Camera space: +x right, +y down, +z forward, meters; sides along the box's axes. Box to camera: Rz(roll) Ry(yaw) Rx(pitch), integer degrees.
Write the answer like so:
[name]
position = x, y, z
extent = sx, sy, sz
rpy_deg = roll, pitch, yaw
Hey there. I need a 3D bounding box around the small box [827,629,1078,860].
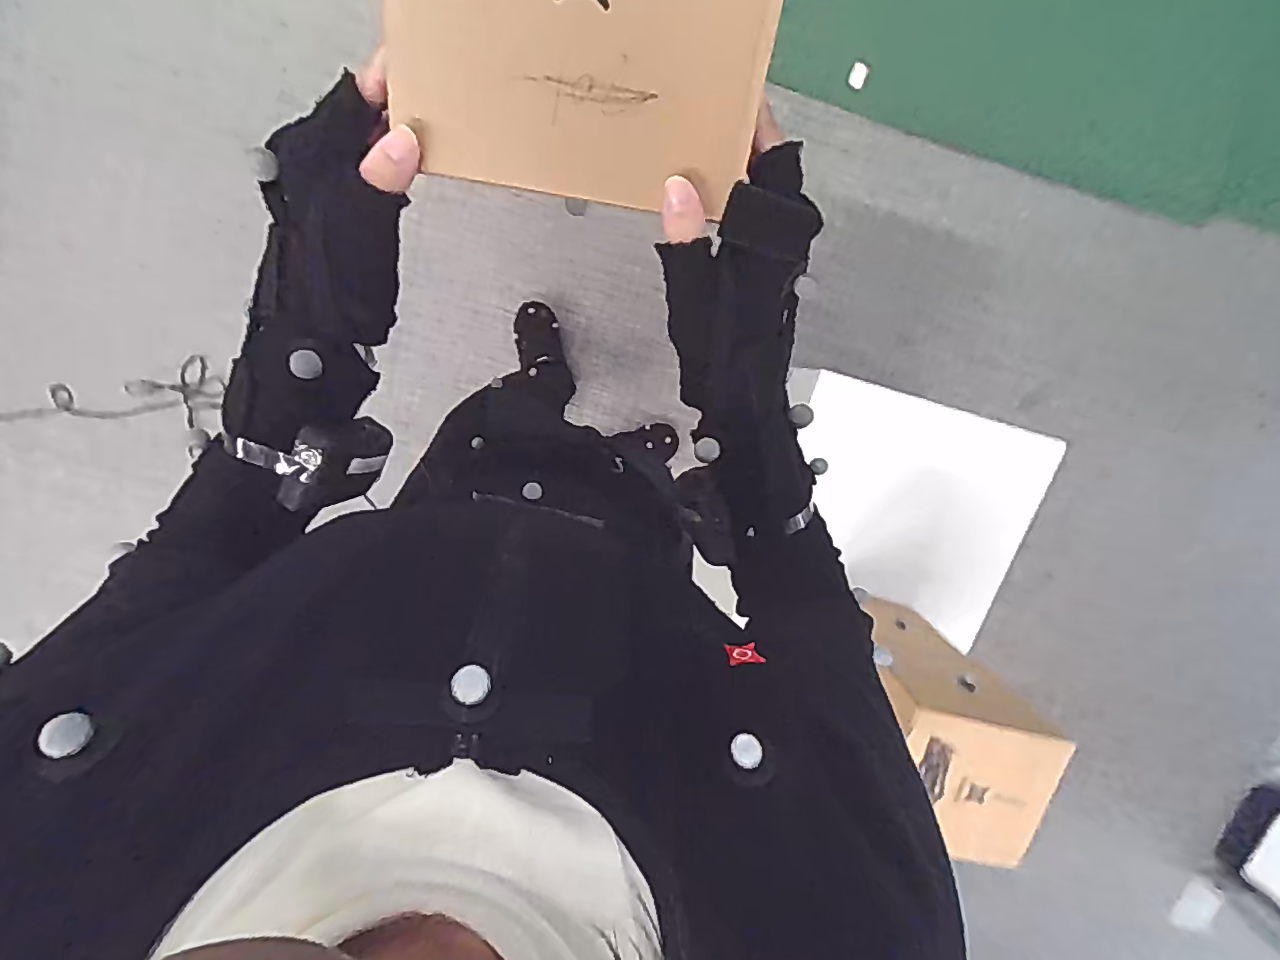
[small box]
position = 0.350, 0.301, 0.648
extent = 0.179, 0.176, 0.168
rpy_deg = 14, 103, -3
